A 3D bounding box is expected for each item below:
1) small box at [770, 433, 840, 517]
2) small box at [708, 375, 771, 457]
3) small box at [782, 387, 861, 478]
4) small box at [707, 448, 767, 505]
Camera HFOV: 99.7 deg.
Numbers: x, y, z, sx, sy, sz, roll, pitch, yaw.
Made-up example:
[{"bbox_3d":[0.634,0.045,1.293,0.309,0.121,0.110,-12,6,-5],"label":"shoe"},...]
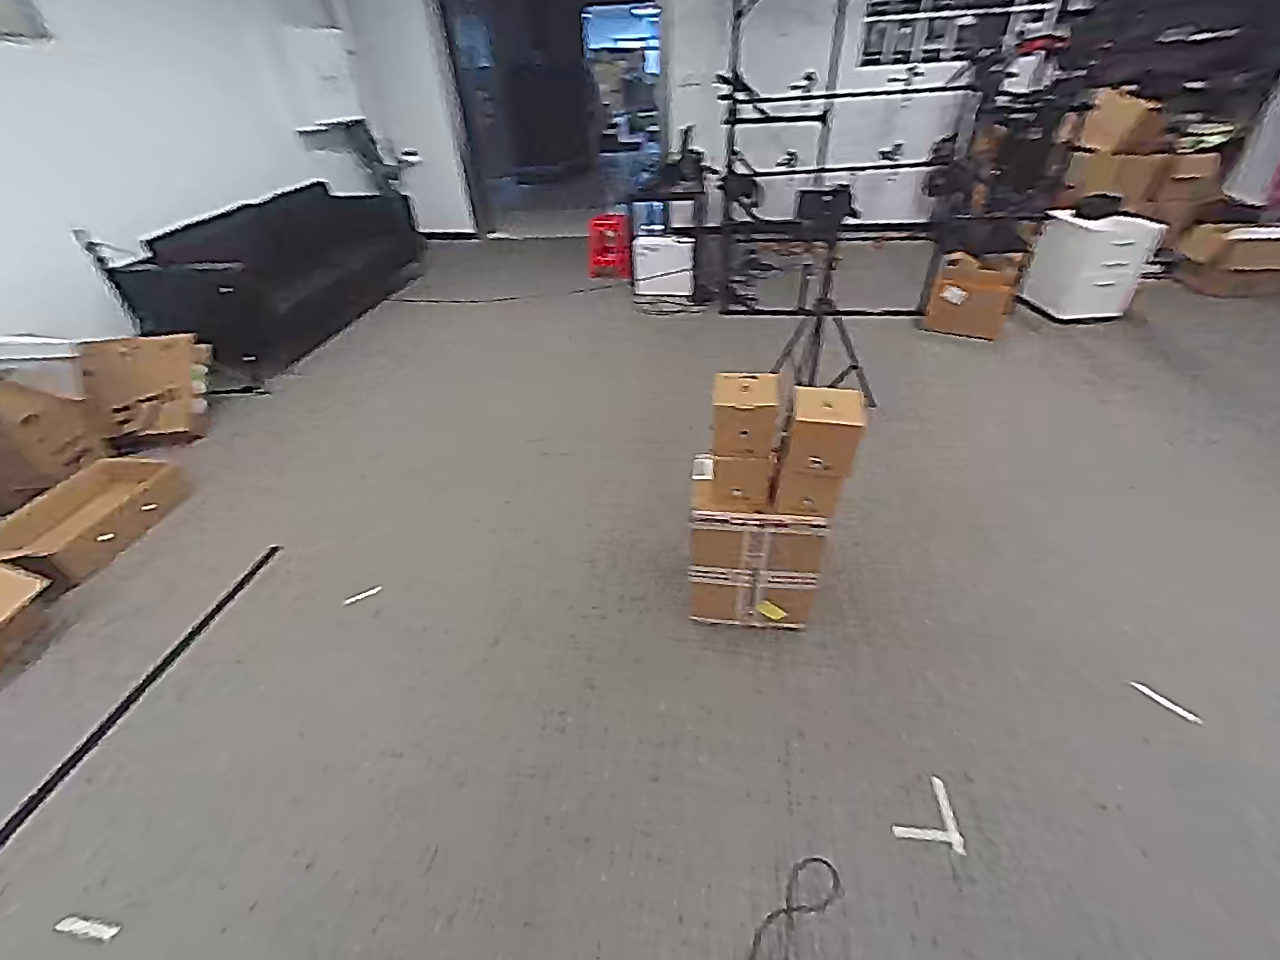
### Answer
[{"bbox_3d":[0.471,-0.017,1.567,0.168,0.176,0.179,4,40,7],"label":"small box"},{"bbox_3d":[0.280,-0.179,1.521,0.168,0.176,0.179,2,41,9],"label":"small box"},{"bbox_3d":[0.476,-0.128,1.445,0.168,0.176,0.179,5,41,9],"label":"small box"},{"bbox_3d":[0.286,-0.044,1.616,0.168,0.176,0.179,0,41,7],"label":"small box"}]
